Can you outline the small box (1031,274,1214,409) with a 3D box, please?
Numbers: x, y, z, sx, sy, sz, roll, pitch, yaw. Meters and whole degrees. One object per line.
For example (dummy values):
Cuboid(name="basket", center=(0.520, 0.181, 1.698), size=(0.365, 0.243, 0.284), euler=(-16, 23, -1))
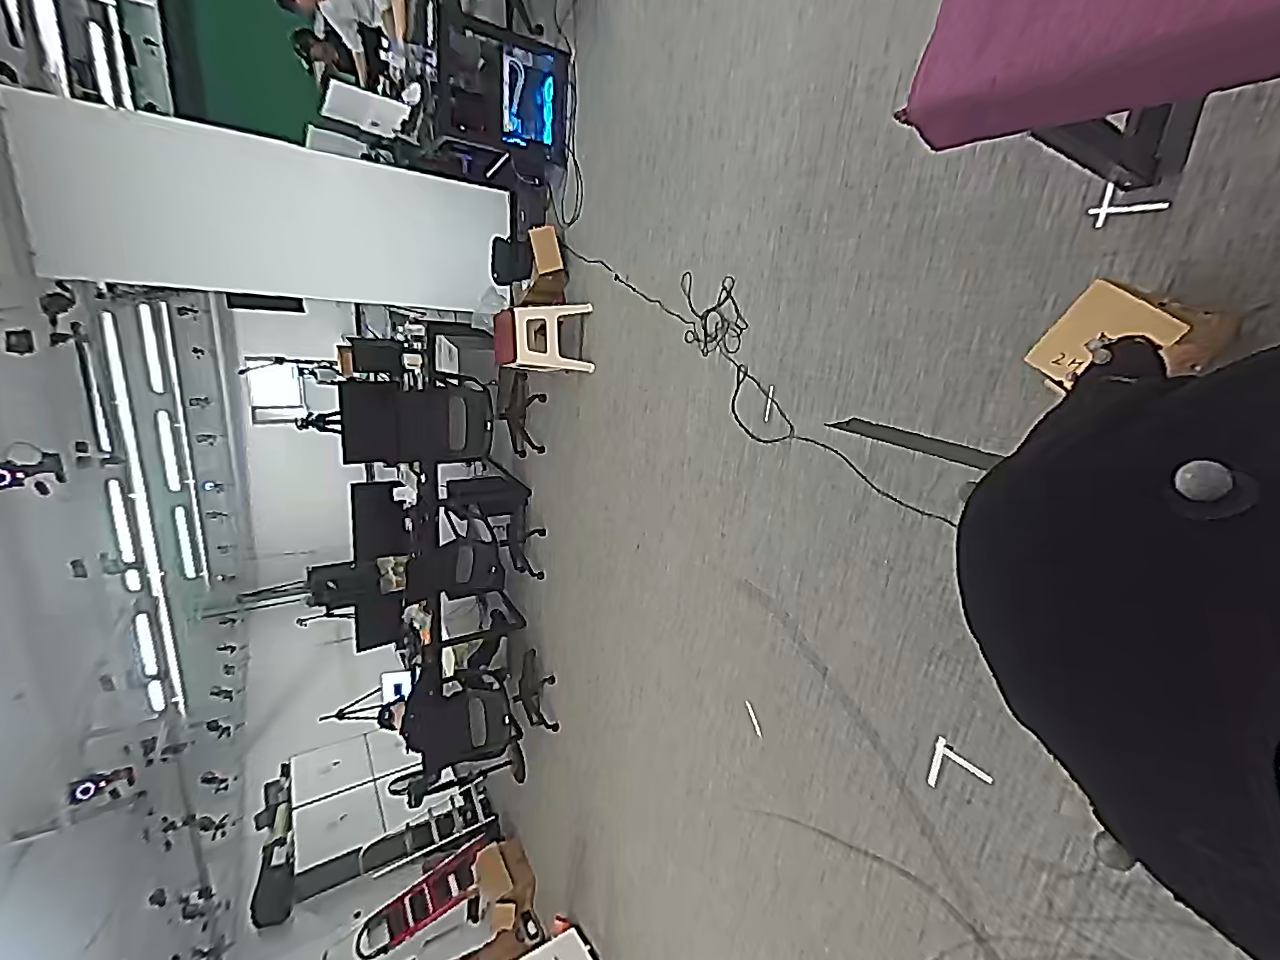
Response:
Cuboid(name="small box", center=(0.884, -0.251, 0.991), size=(0.168, 0.176, 0.179), euler=(58, 140, 34))
